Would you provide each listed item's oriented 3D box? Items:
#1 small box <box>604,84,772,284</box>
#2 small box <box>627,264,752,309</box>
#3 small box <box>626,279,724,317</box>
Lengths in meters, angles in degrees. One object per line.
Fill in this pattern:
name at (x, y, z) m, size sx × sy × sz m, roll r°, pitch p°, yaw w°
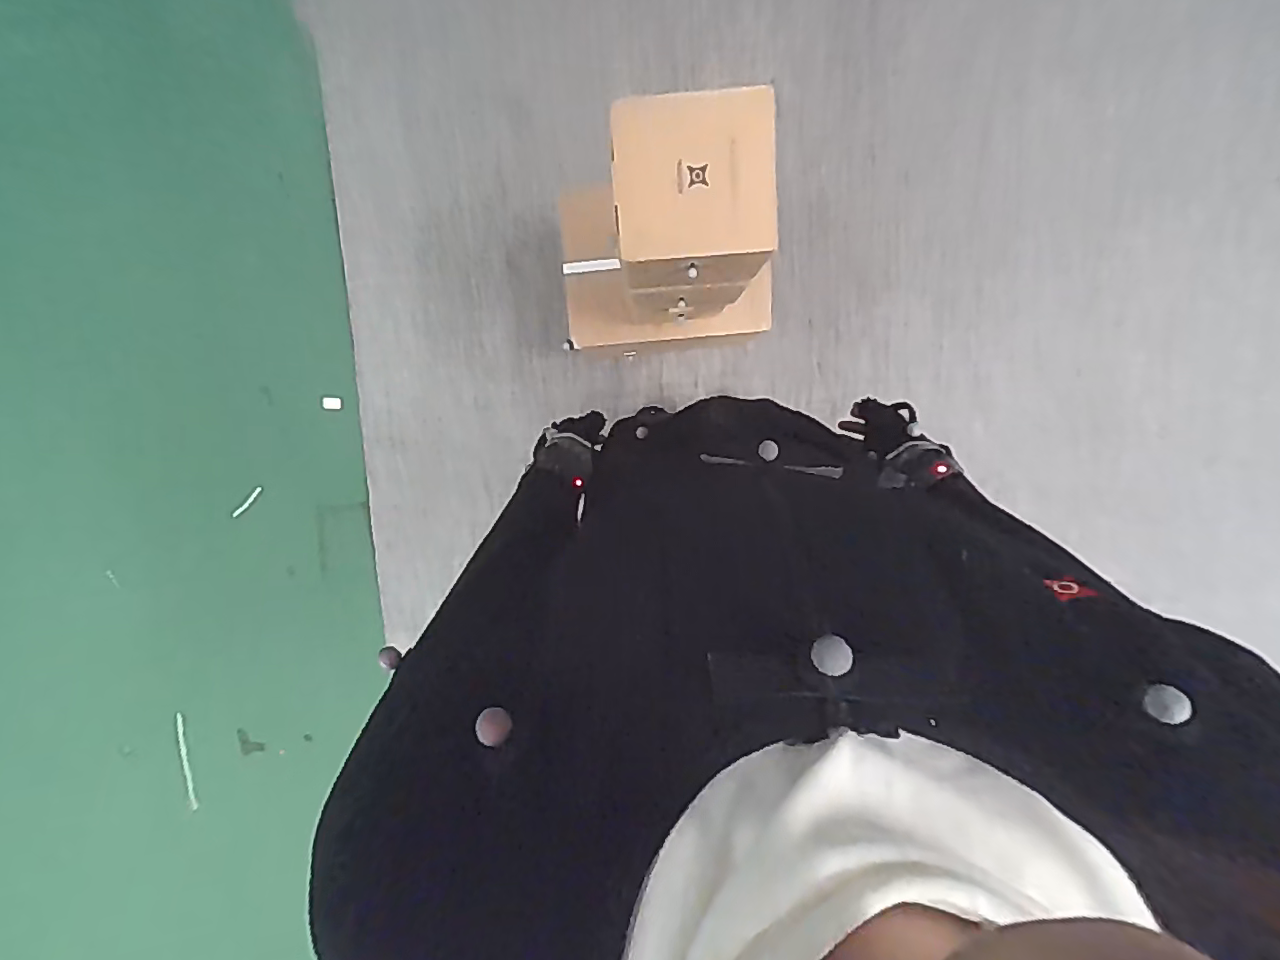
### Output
small box at (0.056, -0.342, 0.658) m, size 0.179 × 0.176 × 0.168 m, roll -3°, pitch 100°, yaw 2°
small box at (0.062, -0.362, 0.819) m, size 0.179 × 0.176 × 0.168 m, roll -6°, pitch 99°, yaw 2°
small box at (0.060, -0.395, 0.980) m, size 0.168 × 0.176 × 0.179 m, roll -5°, pitch 100°, yaw 4°
